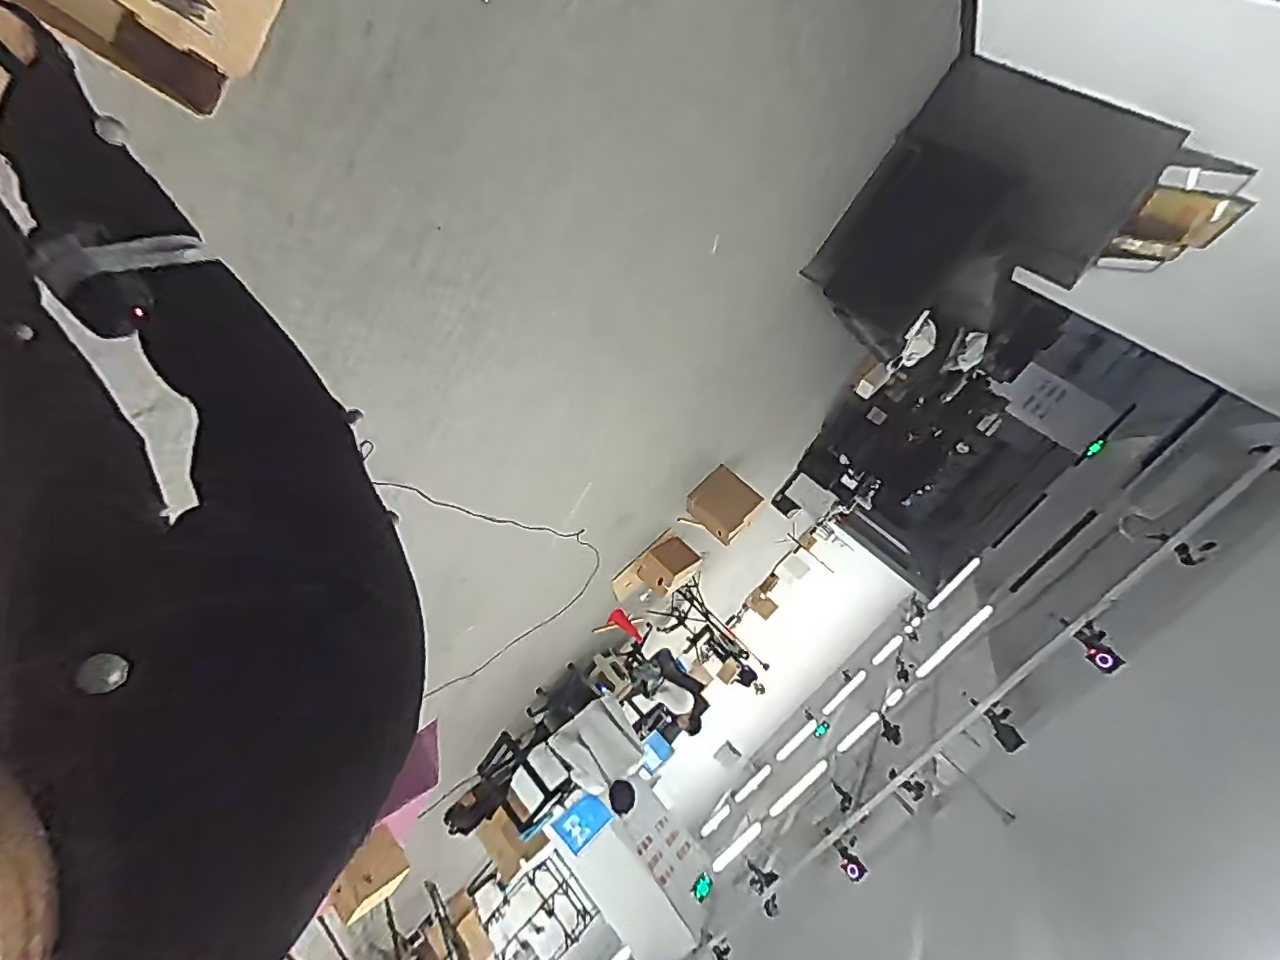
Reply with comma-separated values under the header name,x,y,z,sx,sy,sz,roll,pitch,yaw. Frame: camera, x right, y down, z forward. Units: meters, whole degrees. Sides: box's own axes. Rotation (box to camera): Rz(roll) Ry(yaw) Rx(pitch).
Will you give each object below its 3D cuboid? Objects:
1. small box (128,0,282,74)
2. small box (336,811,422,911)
name,x,y,z,sx,sy,sz,roll,pitch,yaw
small box,-0.529,-0.625,0.613,0.179,0.176,0.168,-53,157,15
small box,-0.869,1.253,1.789,0.168,0.176,0.179,-55,156,21
